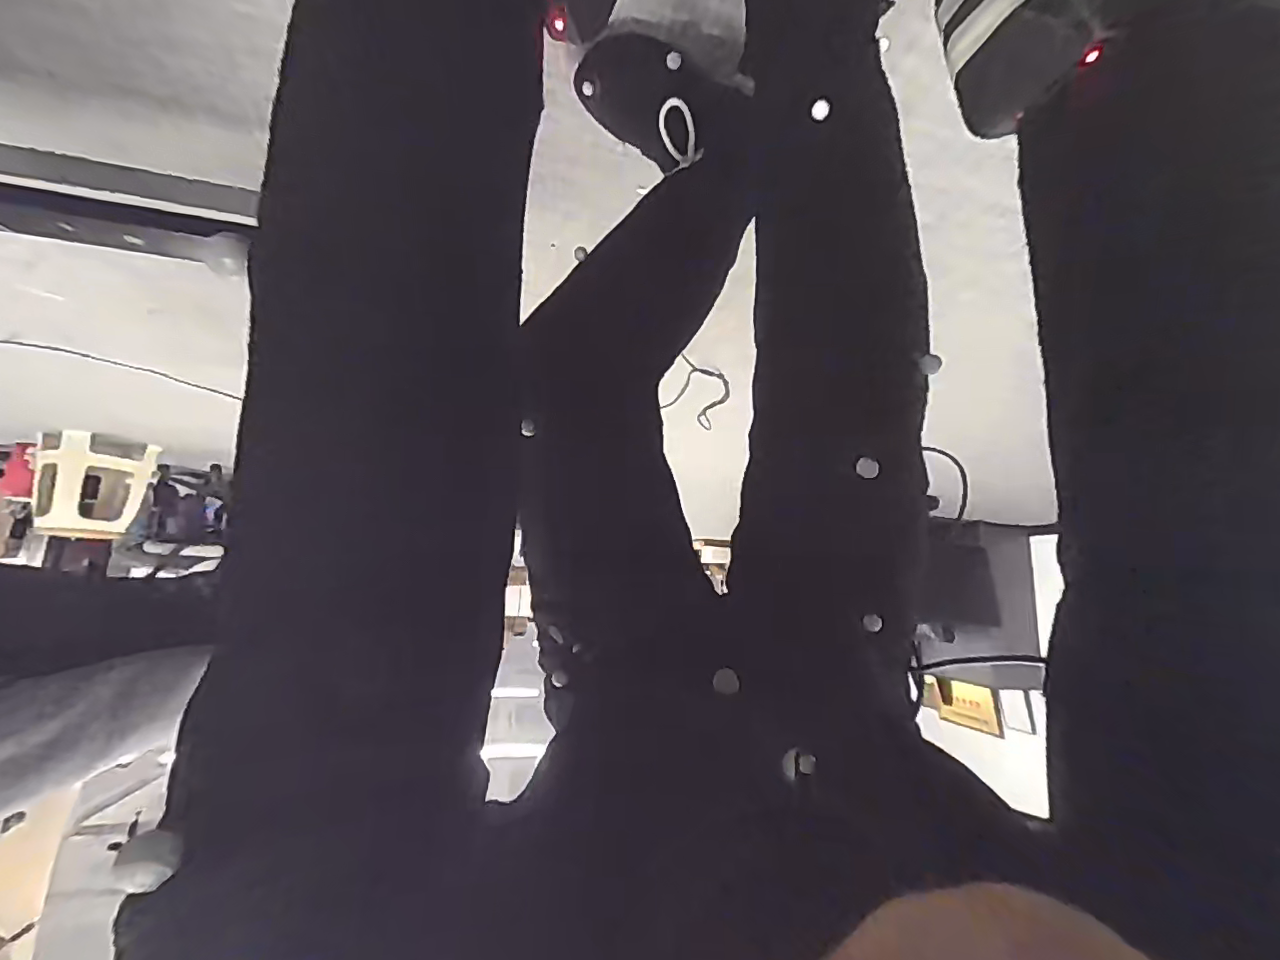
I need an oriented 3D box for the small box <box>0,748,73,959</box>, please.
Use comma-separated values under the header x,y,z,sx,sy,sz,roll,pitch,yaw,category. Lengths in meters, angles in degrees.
x,y,z,sx,sy,sz,roll,pitch,yaw,category
-0.618,0.318,0.421,0.179,0.176,0.168,4,168,-10,small box
